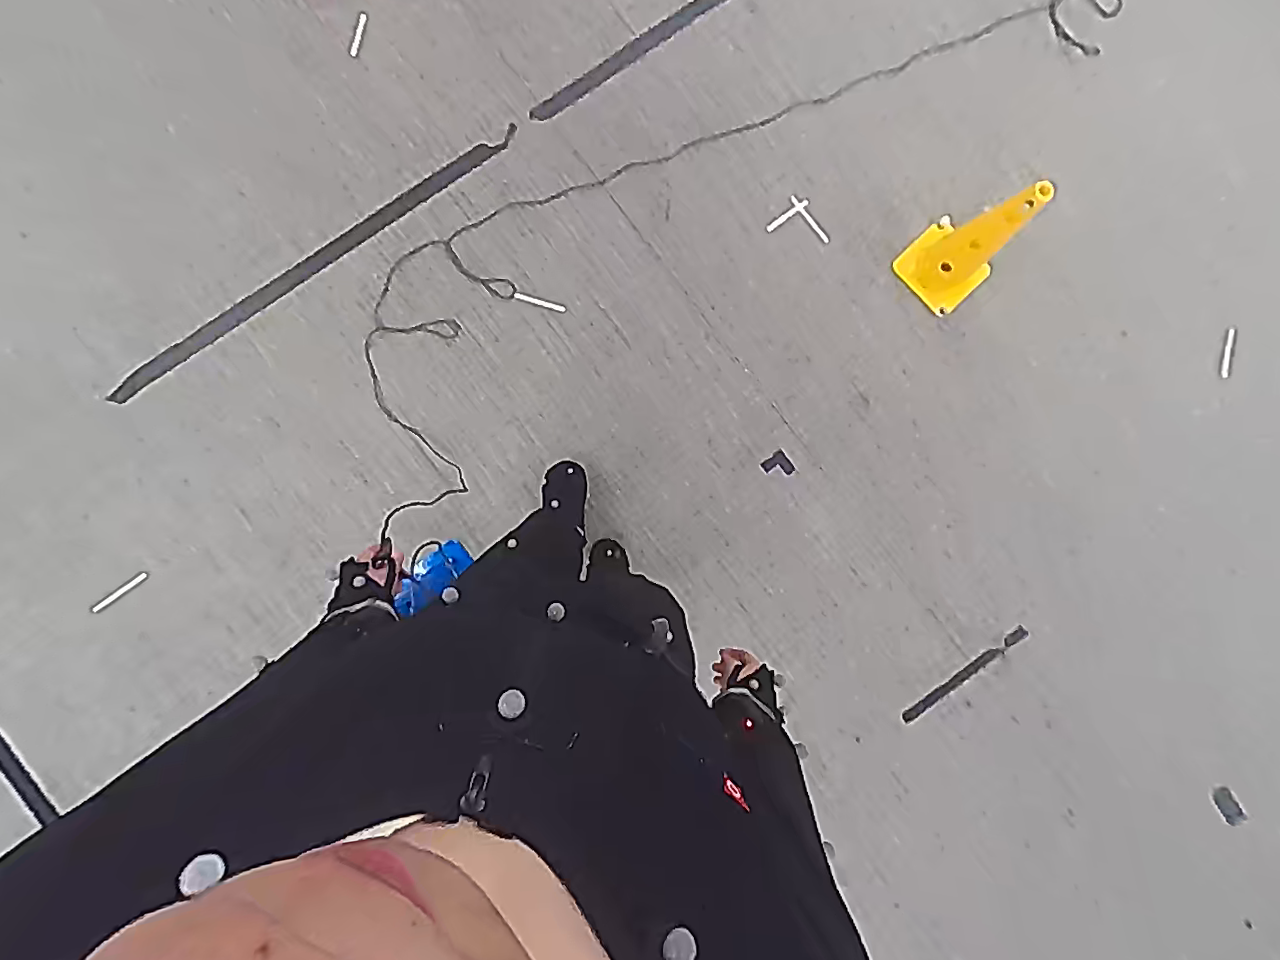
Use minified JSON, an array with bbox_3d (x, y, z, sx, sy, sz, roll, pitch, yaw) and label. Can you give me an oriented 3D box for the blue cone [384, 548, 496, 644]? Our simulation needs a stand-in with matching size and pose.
[{"bbox_3d":[-0.471,0.280,1.185,0.193,0.380,0.192,-36,90,-3],"label":"blue cone"}]
